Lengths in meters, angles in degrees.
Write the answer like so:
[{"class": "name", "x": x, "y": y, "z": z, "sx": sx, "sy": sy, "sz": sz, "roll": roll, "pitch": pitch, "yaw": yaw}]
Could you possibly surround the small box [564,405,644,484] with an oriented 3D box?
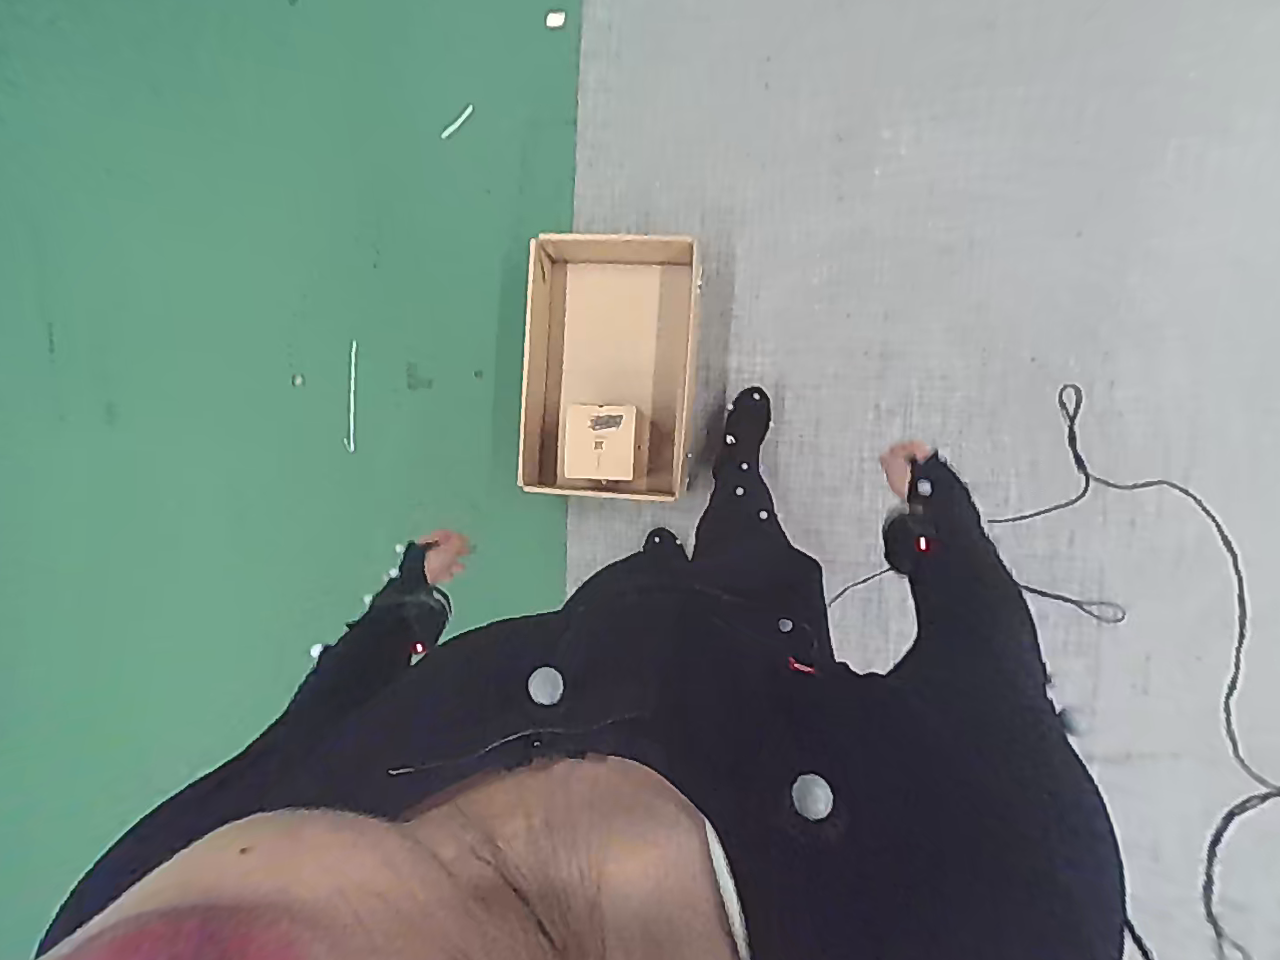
[{"class": "small box", "x": -0.082, "y": -0.083, "z": 1.321, "sx": 0.168, "sy": 0.176, "sz": 0.179, "roll": 3, "pitch": 92, "yaw": 7}]
